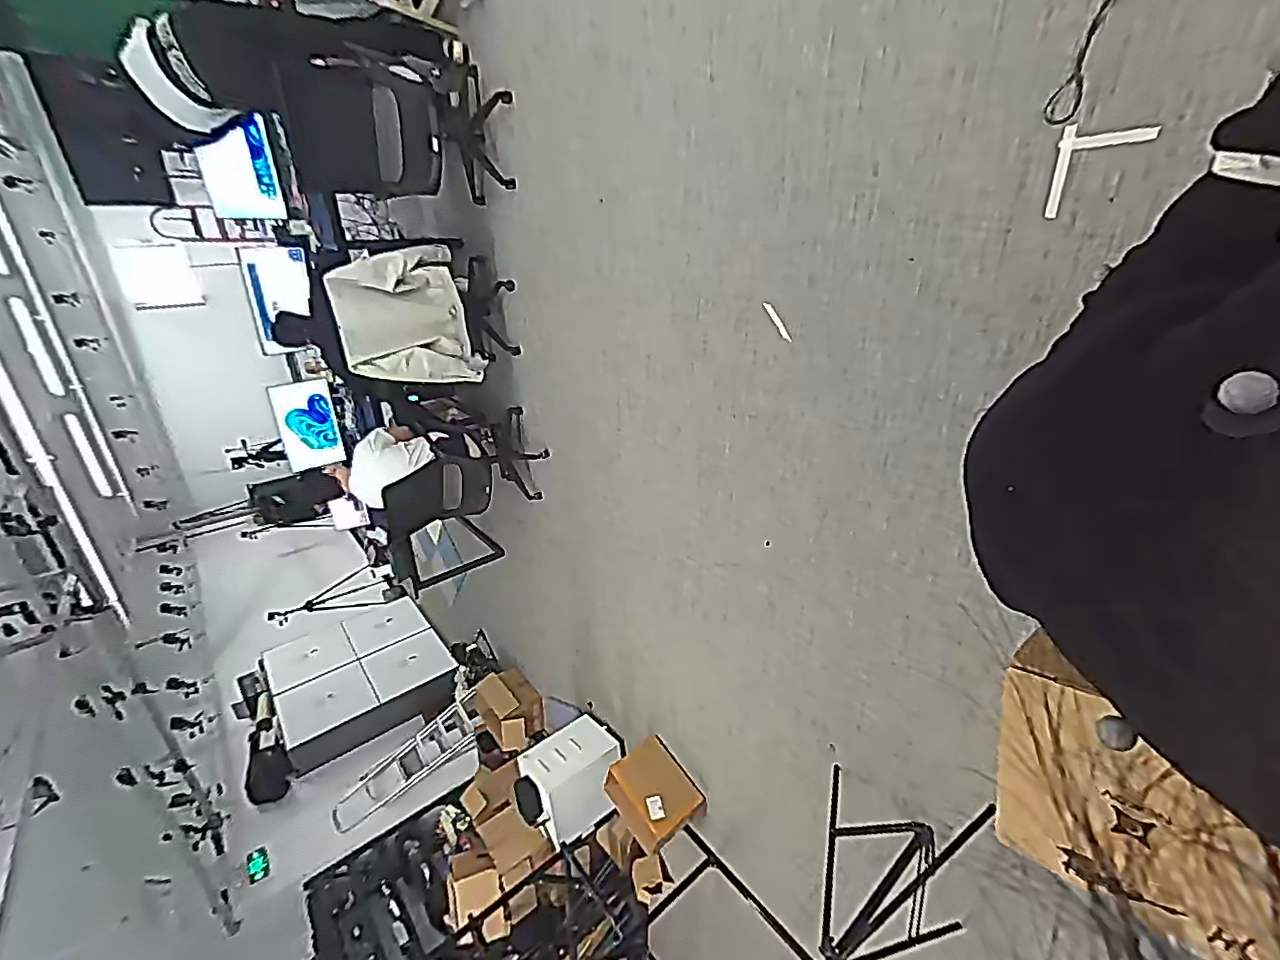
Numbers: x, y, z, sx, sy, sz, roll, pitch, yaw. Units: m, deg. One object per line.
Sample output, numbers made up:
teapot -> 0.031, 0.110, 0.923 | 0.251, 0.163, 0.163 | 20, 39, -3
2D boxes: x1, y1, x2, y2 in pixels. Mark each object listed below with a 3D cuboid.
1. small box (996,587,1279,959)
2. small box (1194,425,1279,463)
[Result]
small box -> 0.403, 0.204, 0.415 | 0.168, 0.176, 0.179 | 13, 114, 51
small box -> 0.909, 0.033, 0.794 | 0.168, 0.176, 0.179 | 24, 123, 46
